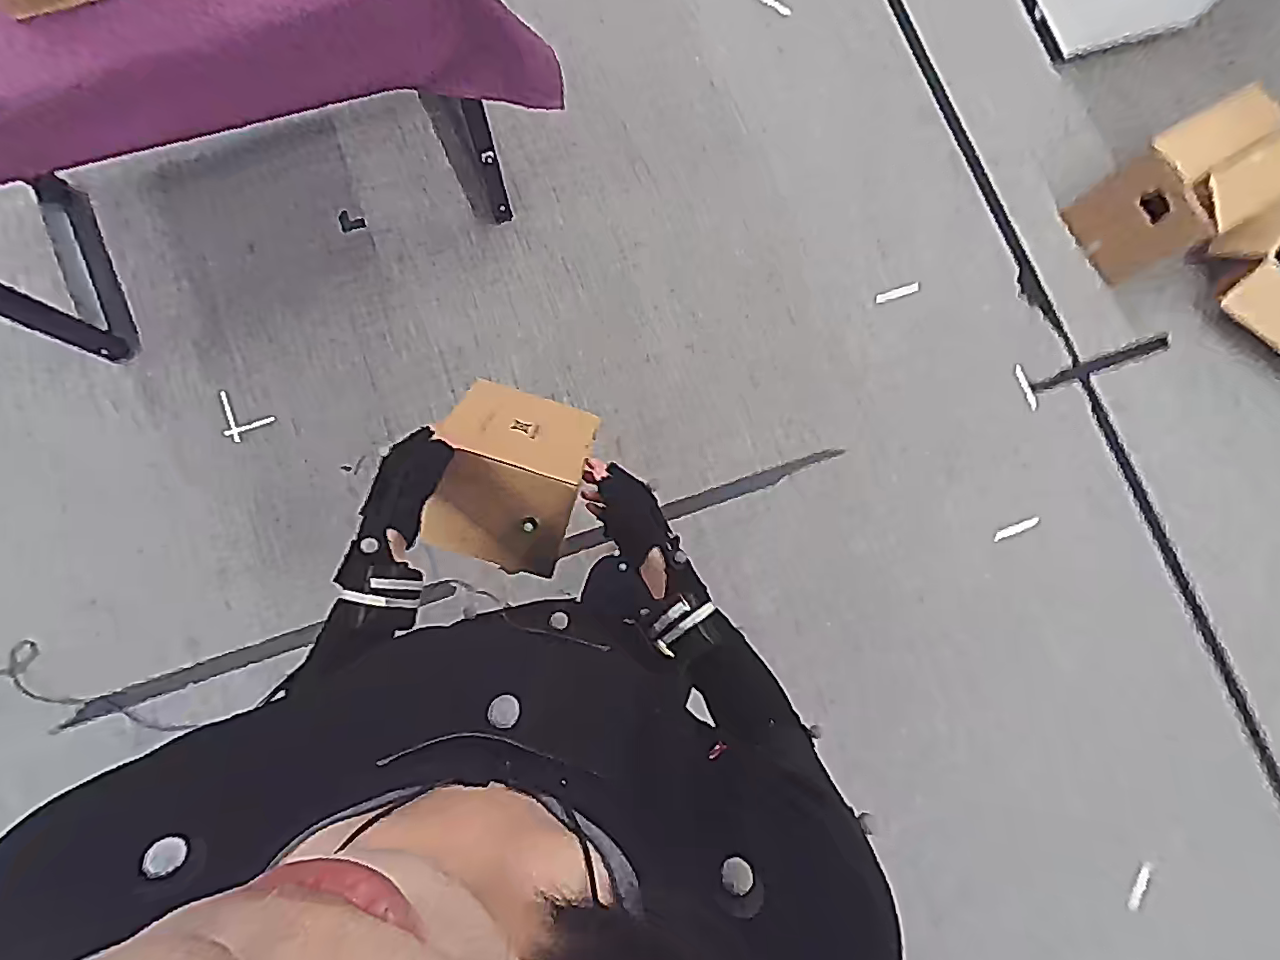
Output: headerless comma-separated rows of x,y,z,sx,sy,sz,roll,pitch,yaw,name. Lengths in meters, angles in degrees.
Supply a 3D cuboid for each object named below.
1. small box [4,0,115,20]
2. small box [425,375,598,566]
-0.934,-0.843,0.795,0.168,0.176,0.179,-22,84,-7,small box
-0.167,-0.010,0.714,0.179,0.168,0.176,14,124,-6,small box
